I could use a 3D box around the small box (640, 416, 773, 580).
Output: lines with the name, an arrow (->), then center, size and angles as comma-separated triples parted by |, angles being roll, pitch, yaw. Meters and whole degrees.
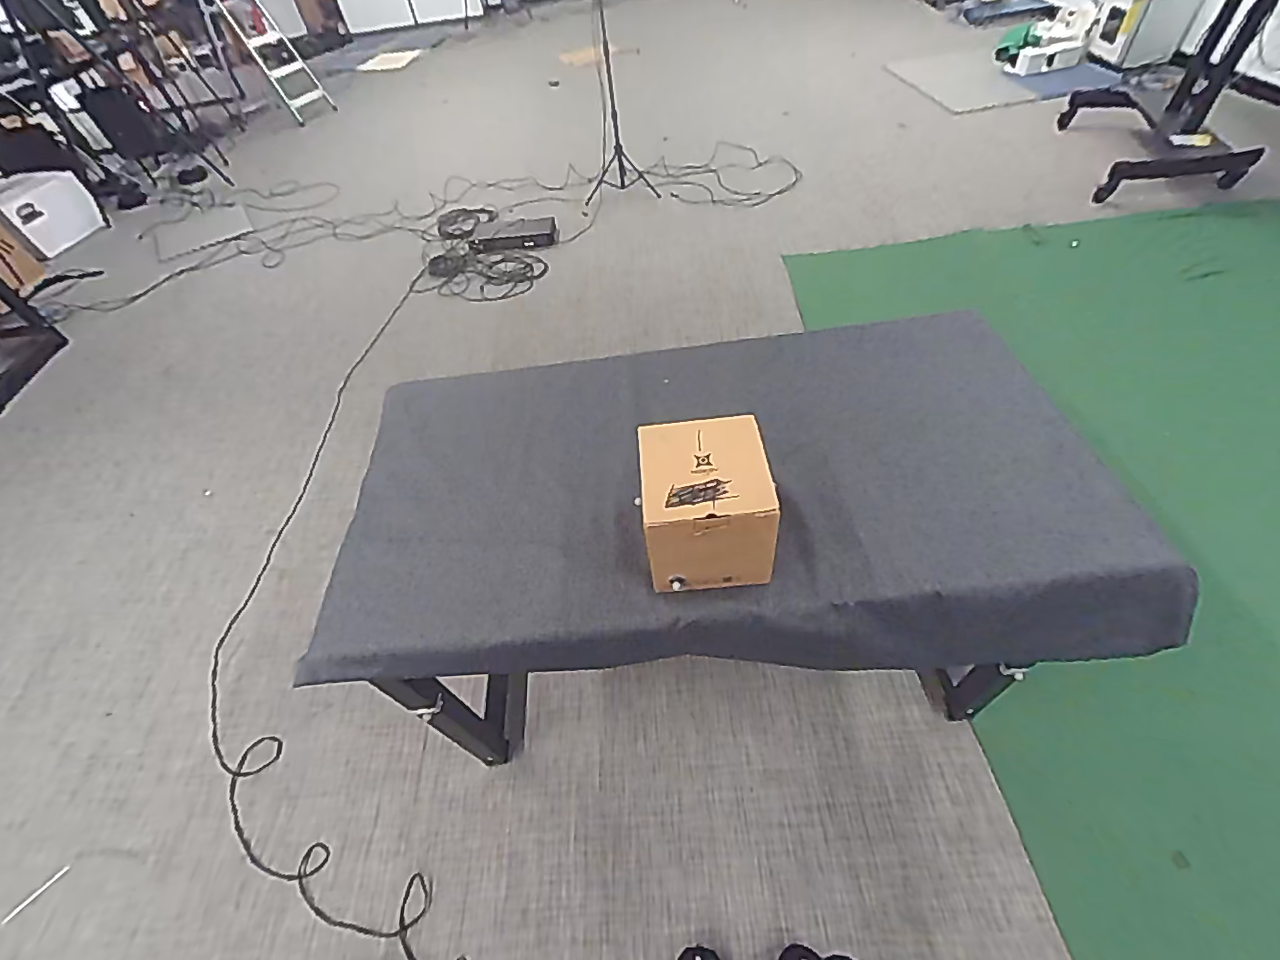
small box -> 0.092, 0.033, 0.783 | 0.168, 0.176, 0.179 | -5, 48, 3
